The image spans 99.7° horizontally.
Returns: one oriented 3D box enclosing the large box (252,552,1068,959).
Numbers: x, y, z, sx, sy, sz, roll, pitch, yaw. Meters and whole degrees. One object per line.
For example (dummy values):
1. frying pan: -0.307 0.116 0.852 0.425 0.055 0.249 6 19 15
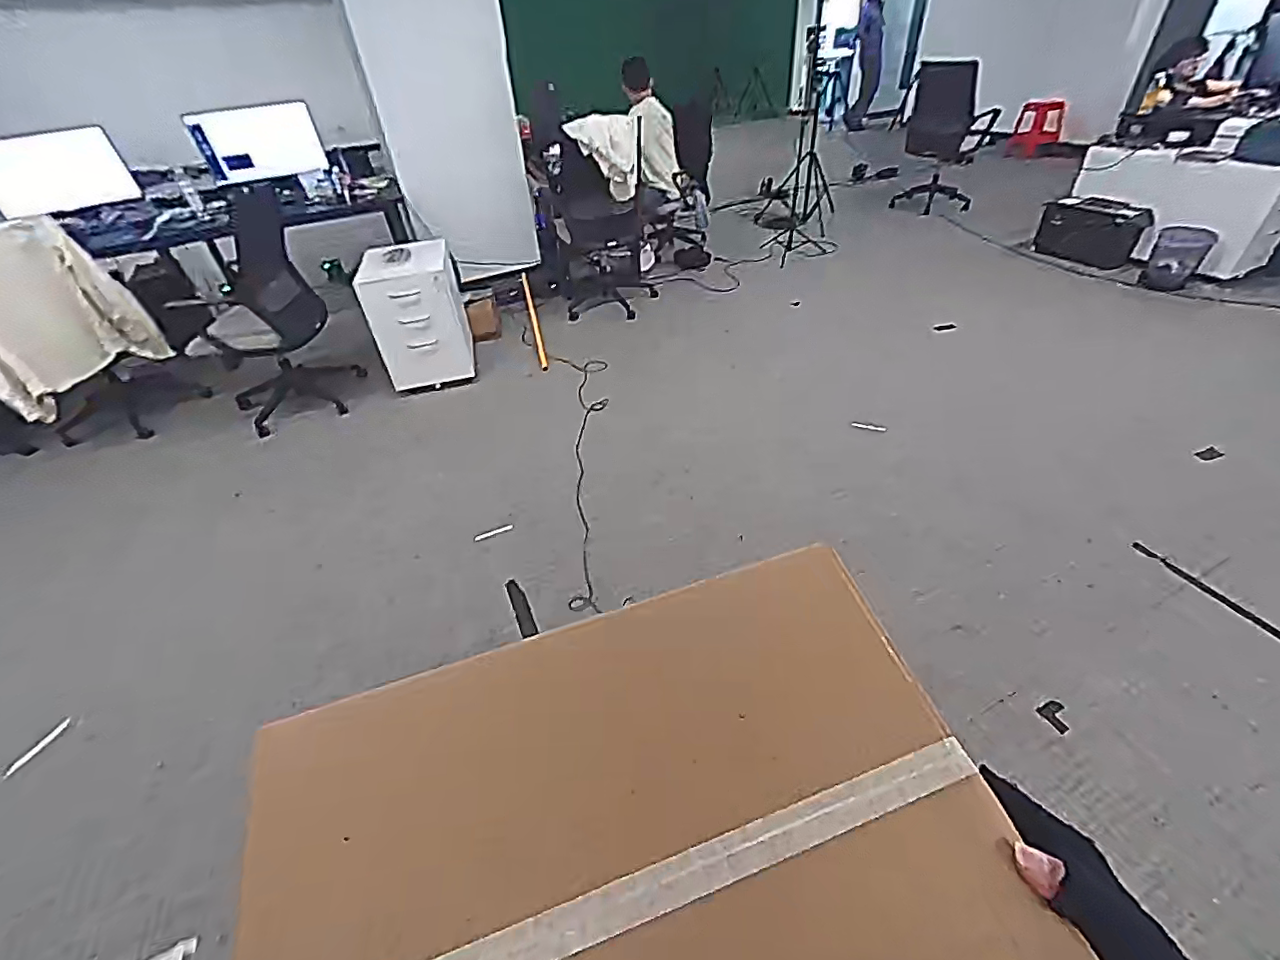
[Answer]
1. large box: 0.003 0.312 0.414 0.408 0.320 0.320 -17 53 -10
